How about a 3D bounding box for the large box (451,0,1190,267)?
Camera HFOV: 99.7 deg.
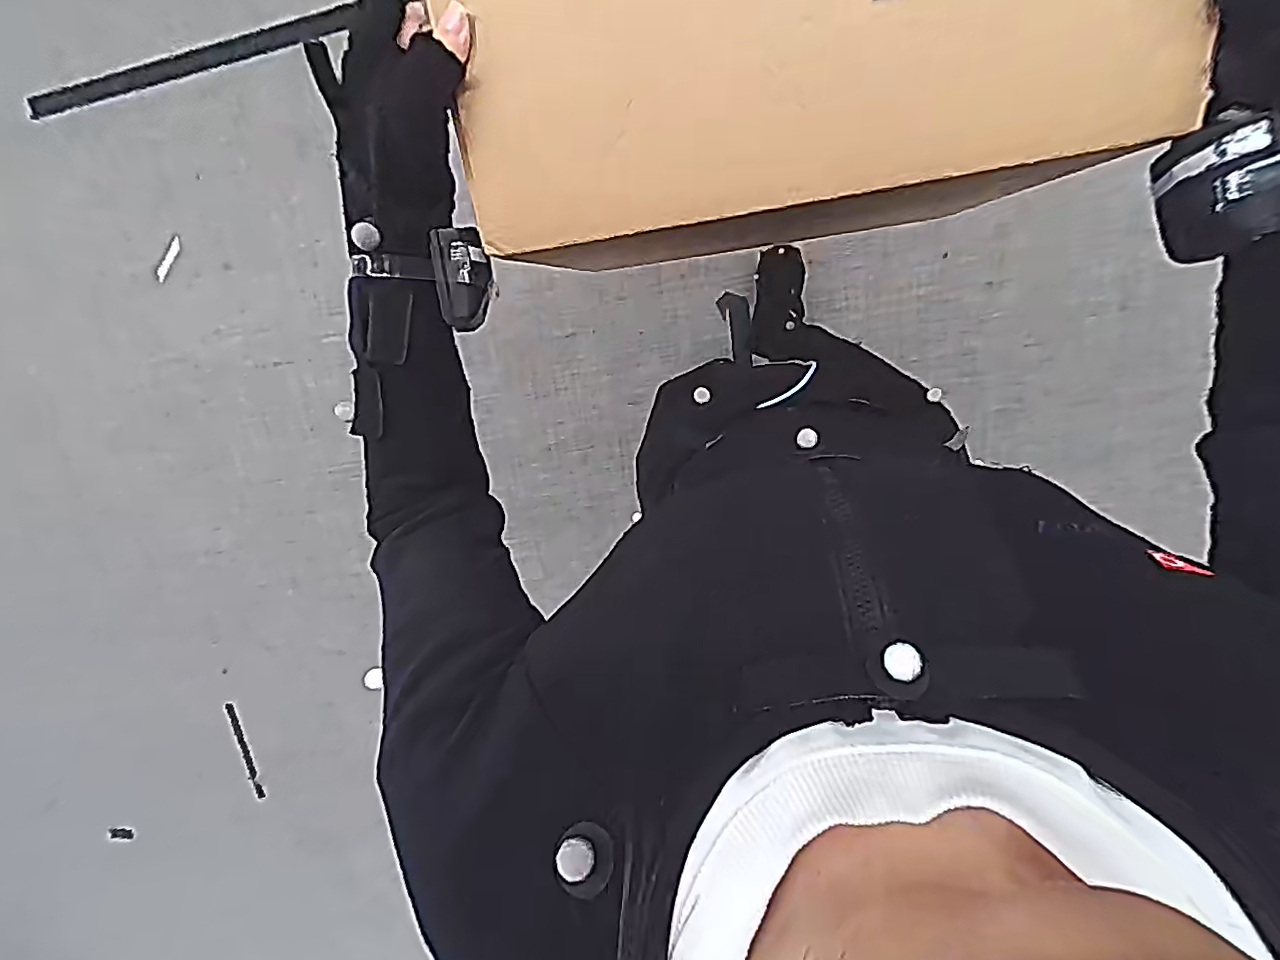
[{"bbox_3d":[0.094,-0.371,0.425,0.408,0.320,0.320,-6,109,9],"label":"large box"}]
